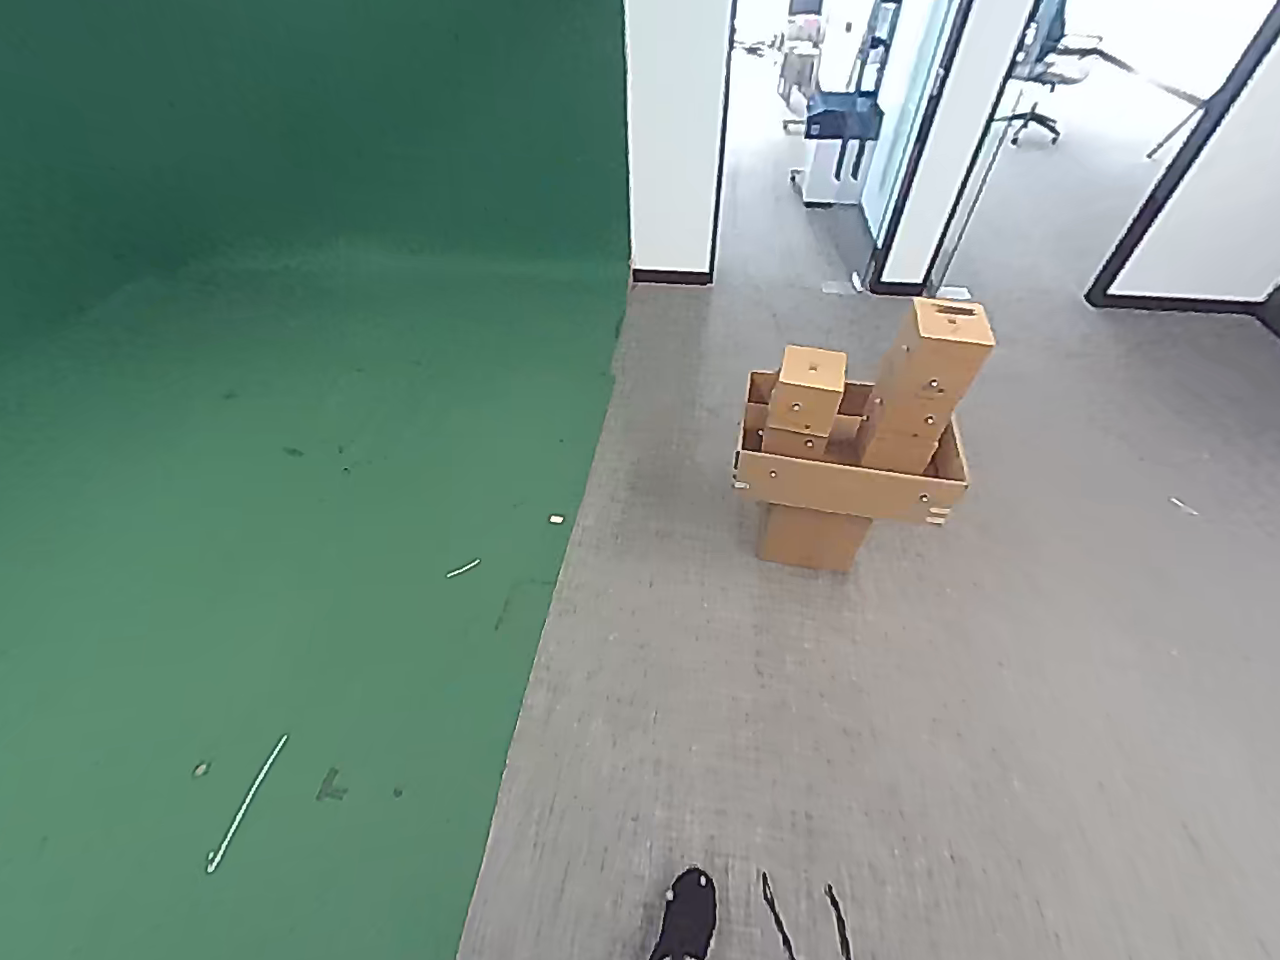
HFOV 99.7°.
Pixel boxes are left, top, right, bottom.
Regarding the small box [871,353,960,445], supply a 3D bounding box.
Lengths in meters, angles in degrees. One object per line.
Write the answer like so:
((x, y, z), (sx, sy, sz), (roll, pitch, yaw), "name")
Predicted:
((0.742, -0.218, 1.475), (0.168, 0.176, 0.179), (10, 49, 8), "small box")

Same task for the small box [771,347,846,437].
((0.465, -0.241, 1.503), (0.168, 0.176, 0.179), (11, 49, 11), "small box")
